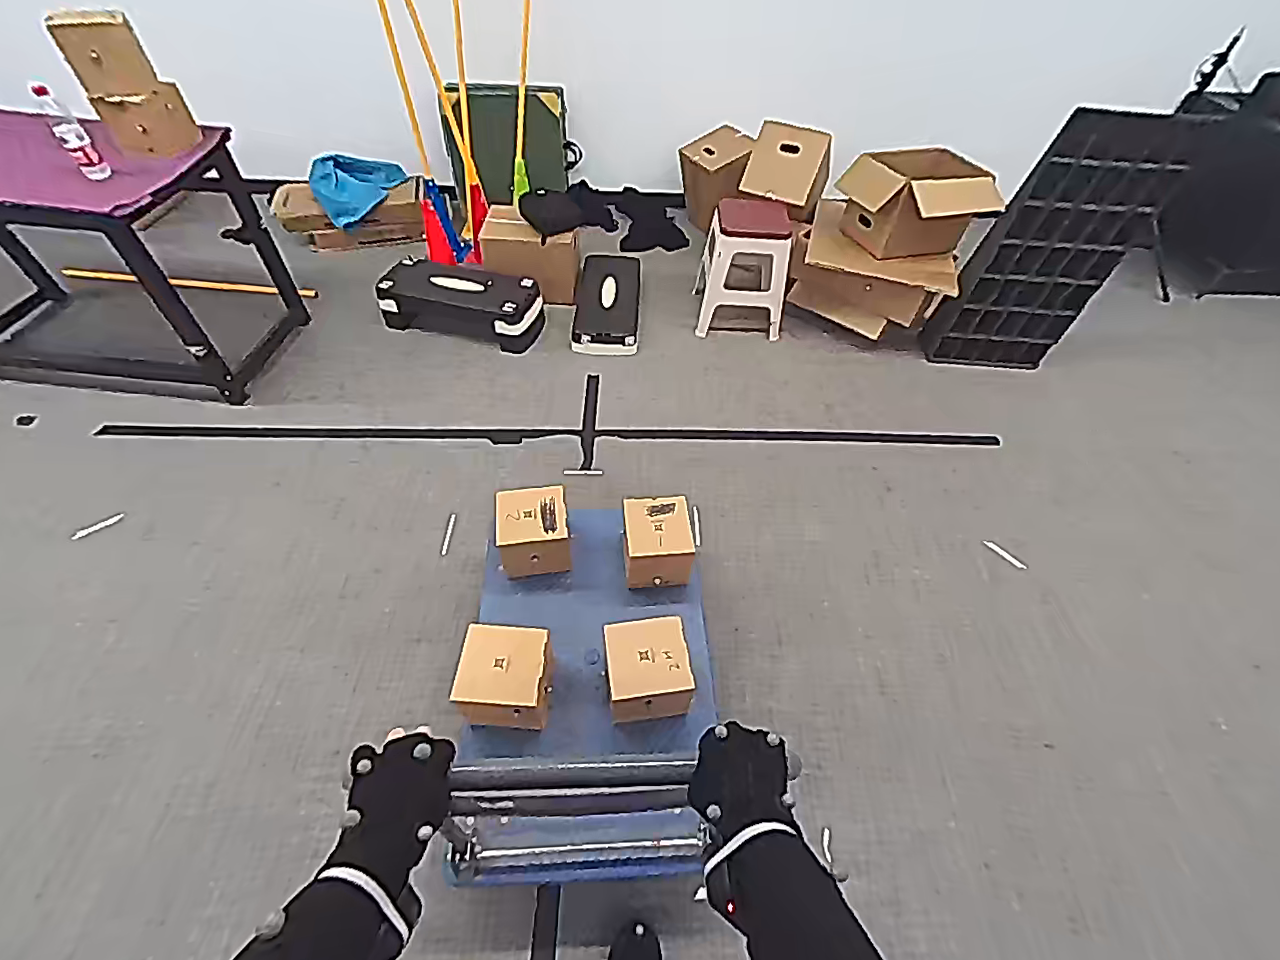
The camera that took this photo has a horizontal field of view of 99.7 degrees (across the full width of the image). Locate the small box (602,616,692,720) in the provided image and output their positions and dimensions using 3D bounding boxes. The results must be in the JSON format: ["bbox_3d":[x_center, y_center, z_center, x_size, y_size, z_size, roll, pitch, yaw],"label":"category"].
[{"bbox_3d":[0.011,0.427,1.219,0.179,0.176,0.168,-5,51,-7],"label":"small box"}]

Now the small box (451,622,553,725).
[{"bbox_3d":[-0.295,0.432,1.199,0.179,0.176,0.168,5,51,-1],"label":"small box"}]

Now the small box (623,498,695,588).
[{"bbox_3d":[0.042,0.167,1.434,0.168,0.176,0.179,-3,52,-6],"label":"small box"}]
